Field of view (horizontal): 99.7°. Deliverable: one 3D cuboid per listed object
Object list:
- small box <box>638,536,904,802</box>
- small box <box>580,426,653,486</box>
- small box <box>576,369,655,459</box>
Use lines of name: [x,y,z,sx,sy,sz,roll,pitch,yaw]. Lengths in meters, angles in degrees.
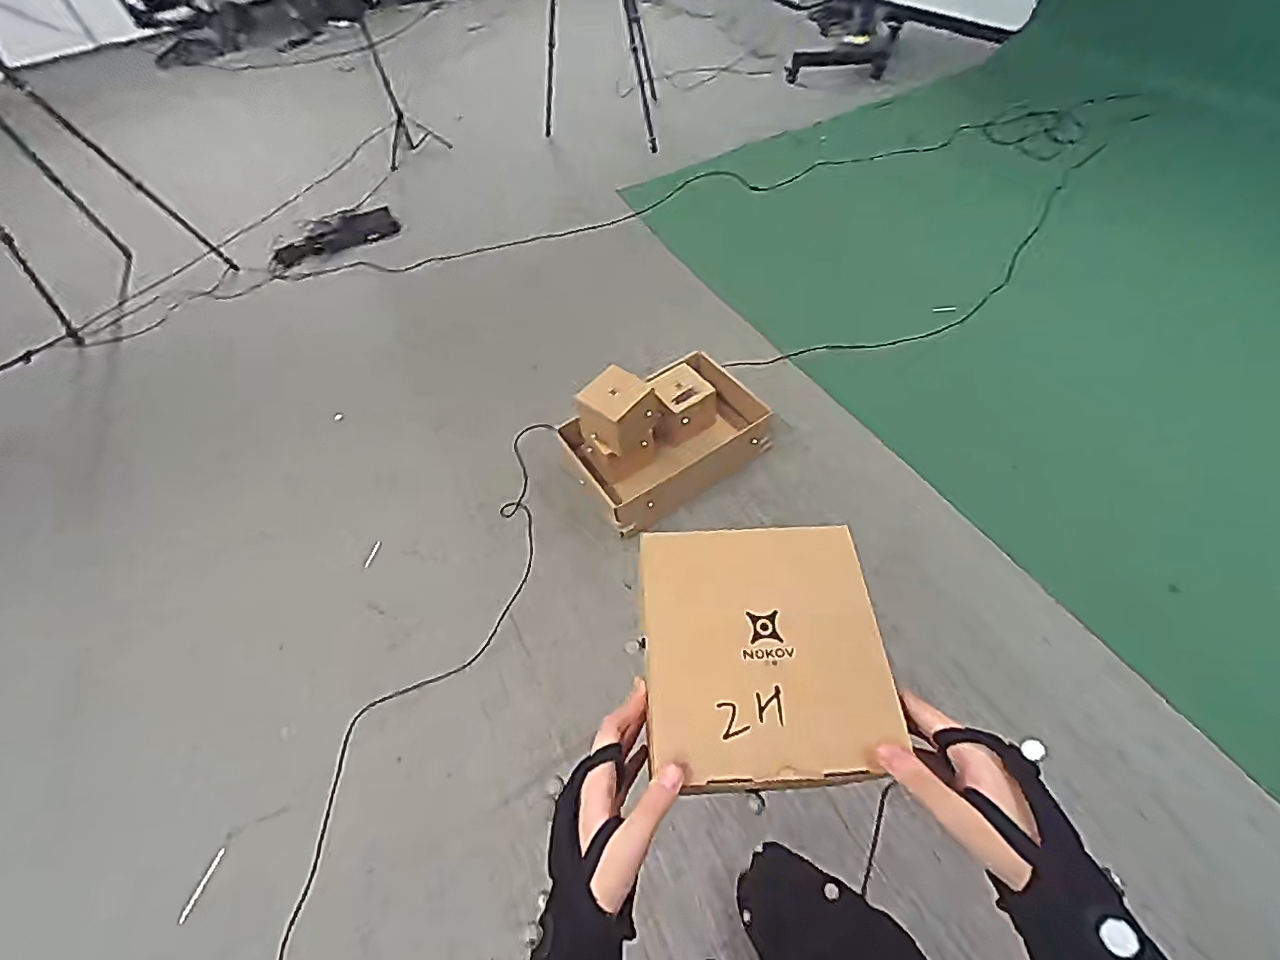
small box: [0.083,0.162,0.451,0.168,0.176,0.179,-2,58,-1]
small box: [-0.071,-0.111,1.779,0.179,0.176,0.168,-30,57,-16]
small box: [-0.070,-0.199,1.642,0.168,0.176,0.179,32,64,25]
